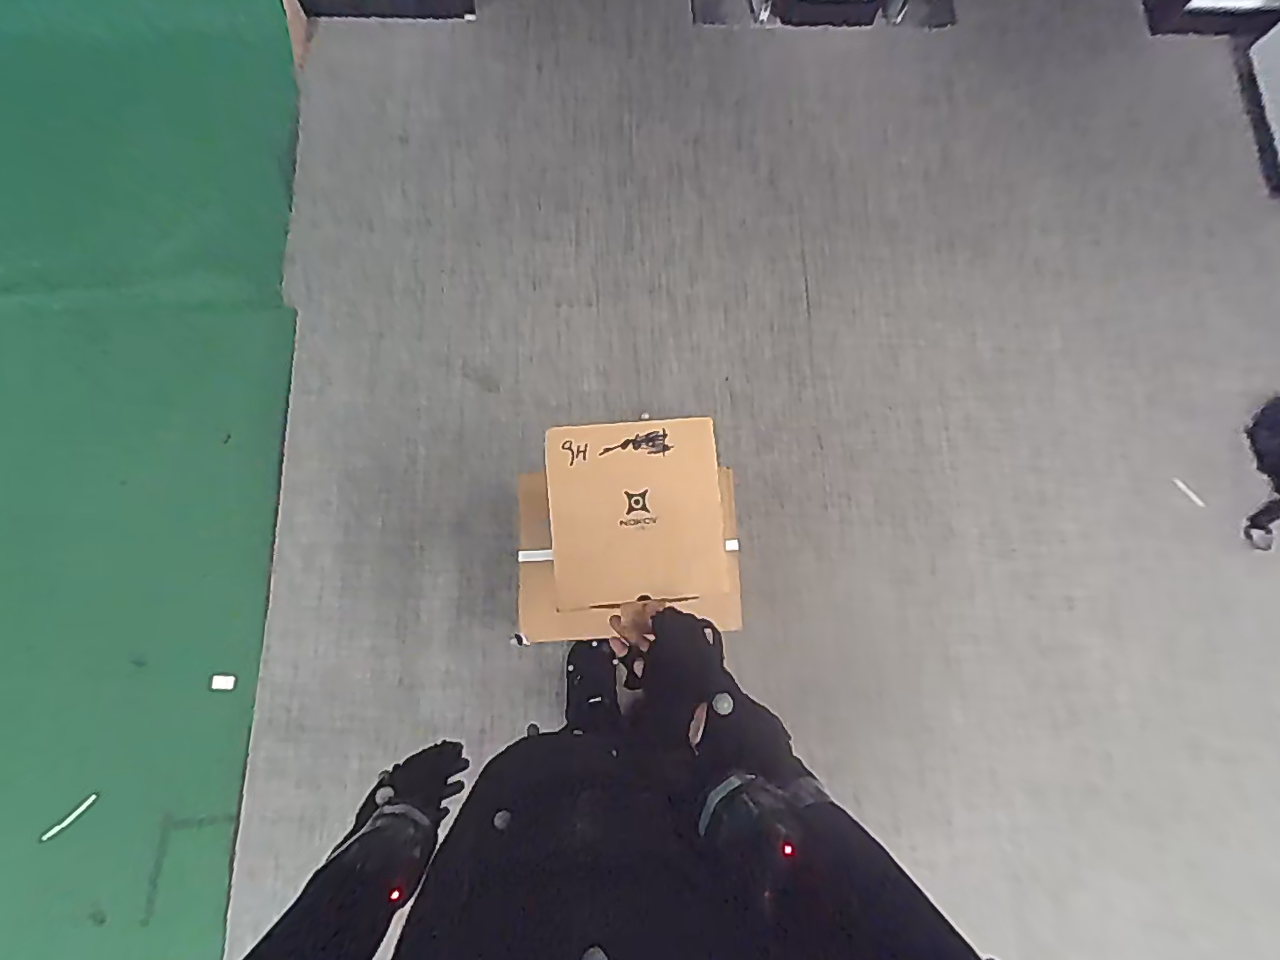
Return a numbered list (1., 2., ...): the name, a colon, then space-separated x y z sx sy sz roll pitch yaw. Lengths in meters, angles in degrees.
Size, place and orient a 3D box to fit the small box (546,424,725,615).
1. small box: -0.009 0.043 0.600 0.168 0.176 0.179 -4 85 -5
